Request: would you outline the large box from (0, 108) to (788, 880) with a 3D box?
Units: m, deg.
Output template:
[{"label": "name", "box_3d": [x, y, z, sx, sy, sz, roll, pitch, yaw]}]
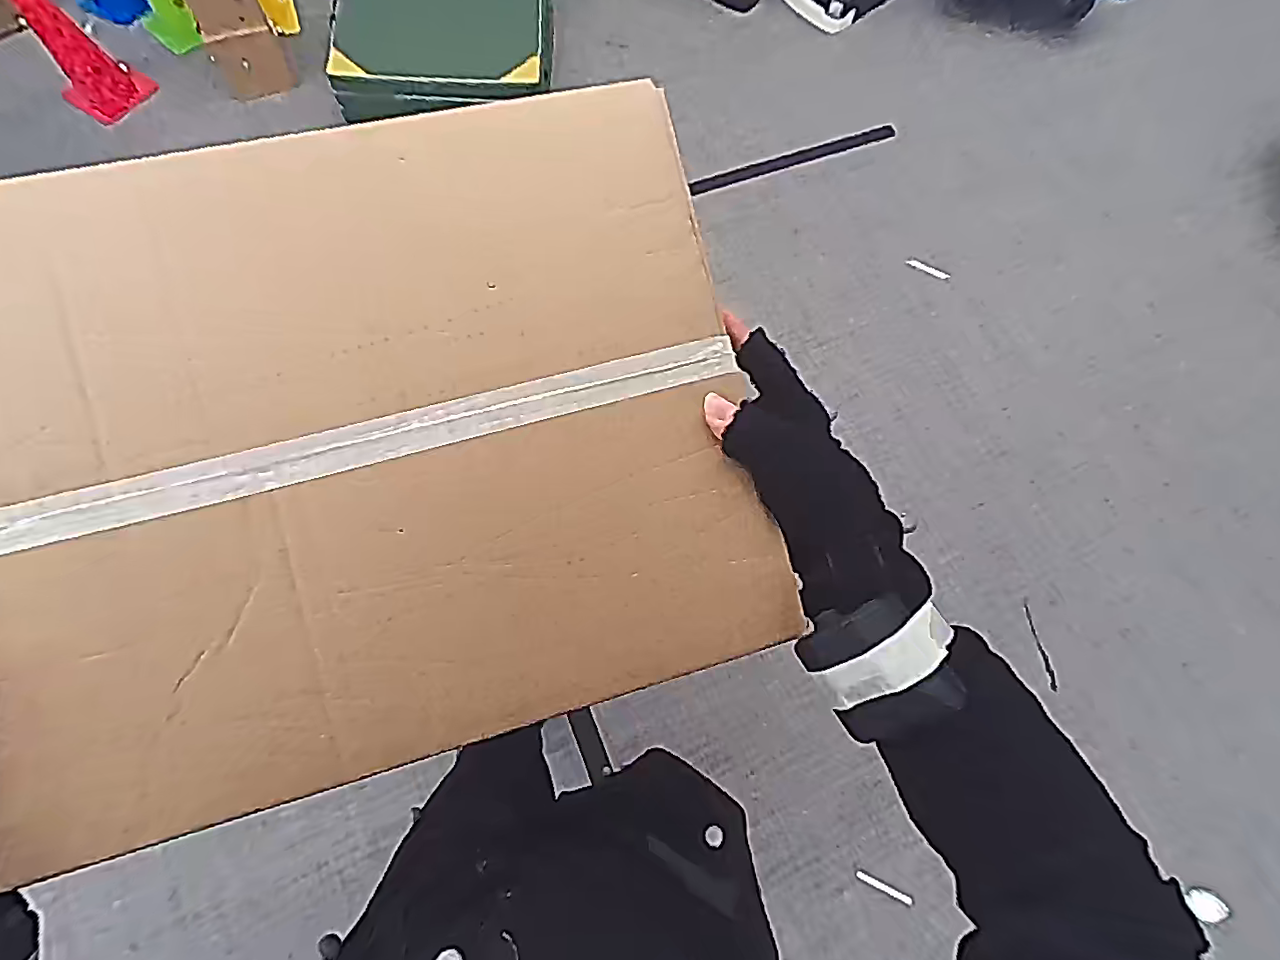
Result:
[{"label": "large box", "box_3d": [-0.161, -0.008, 0.424, 0.408, 0.320, 0.320, -15, 89, -8]}]
